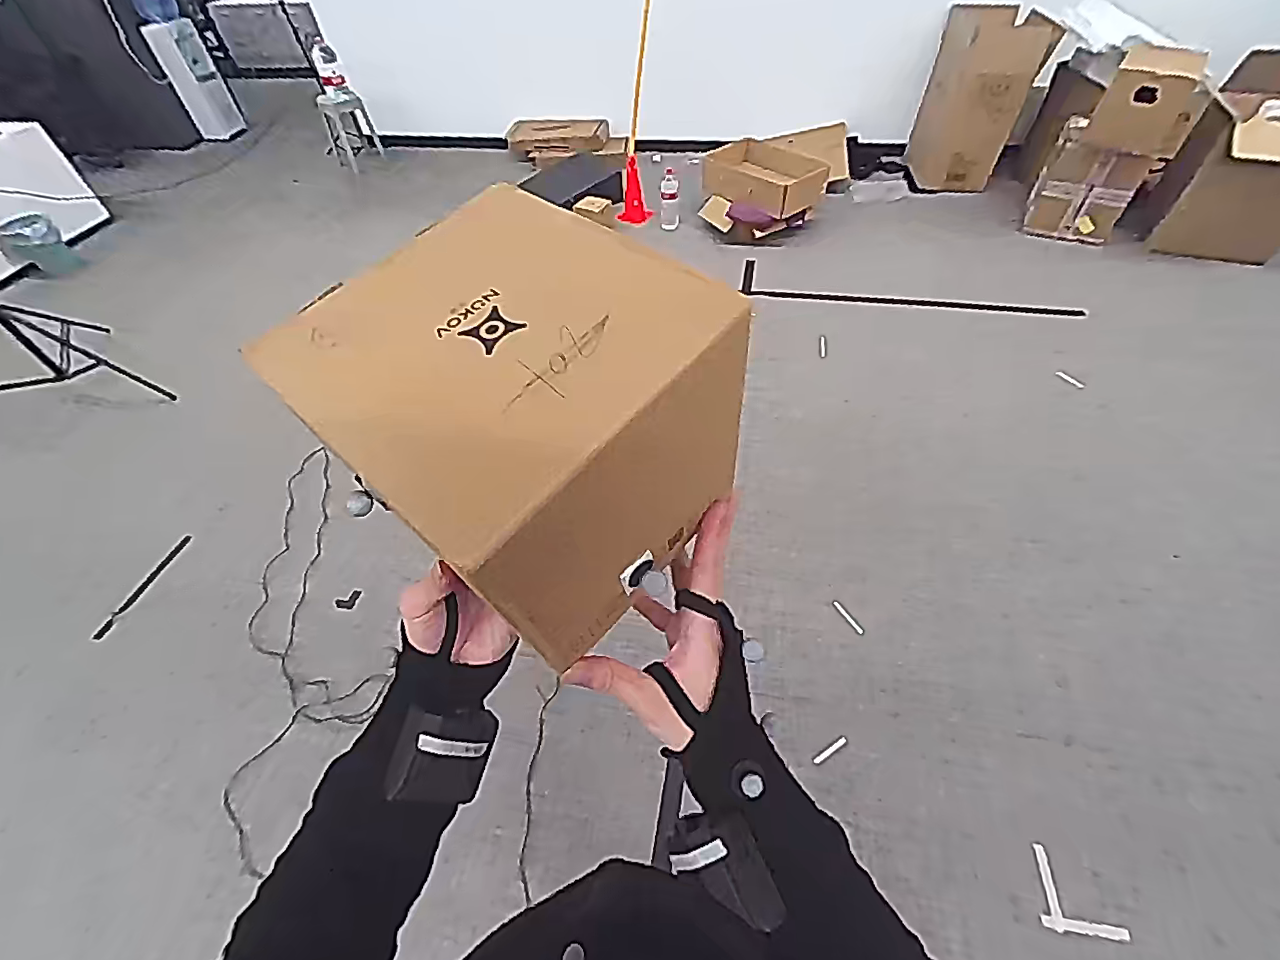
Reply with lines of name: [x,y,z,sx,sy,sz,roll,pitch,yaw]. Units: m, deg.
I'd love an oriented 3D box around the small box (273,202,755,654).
small box: [-0.056,-0.024,0.323,0.179,0.176,0.168,35,68,23]
